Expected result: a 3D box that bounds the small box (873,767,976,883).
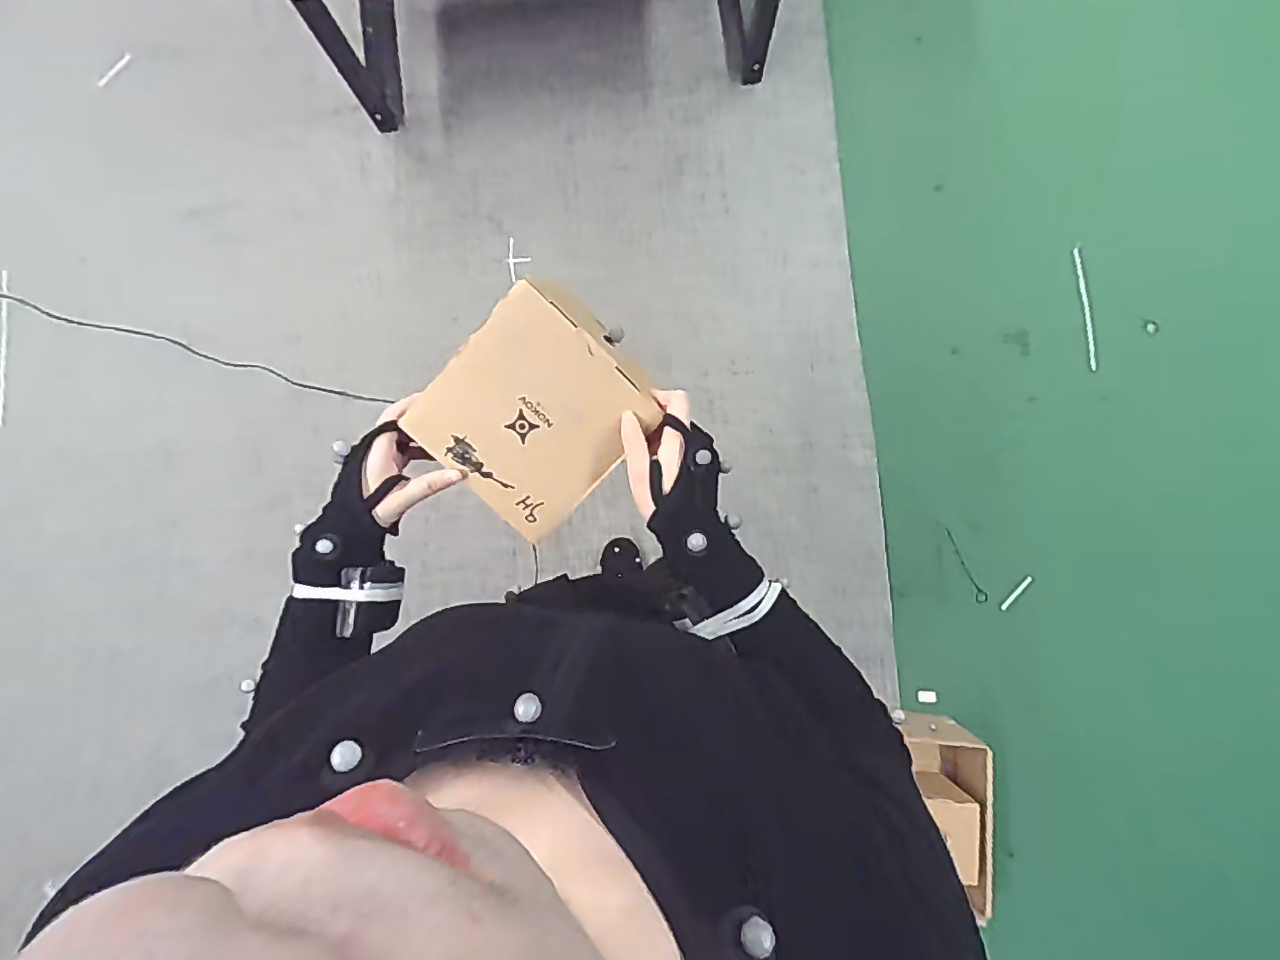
[{"bbox_3d":[0.680,0.823,1.307,0.168,0.176,0.179,6,85,3],"label":"small box"}]
